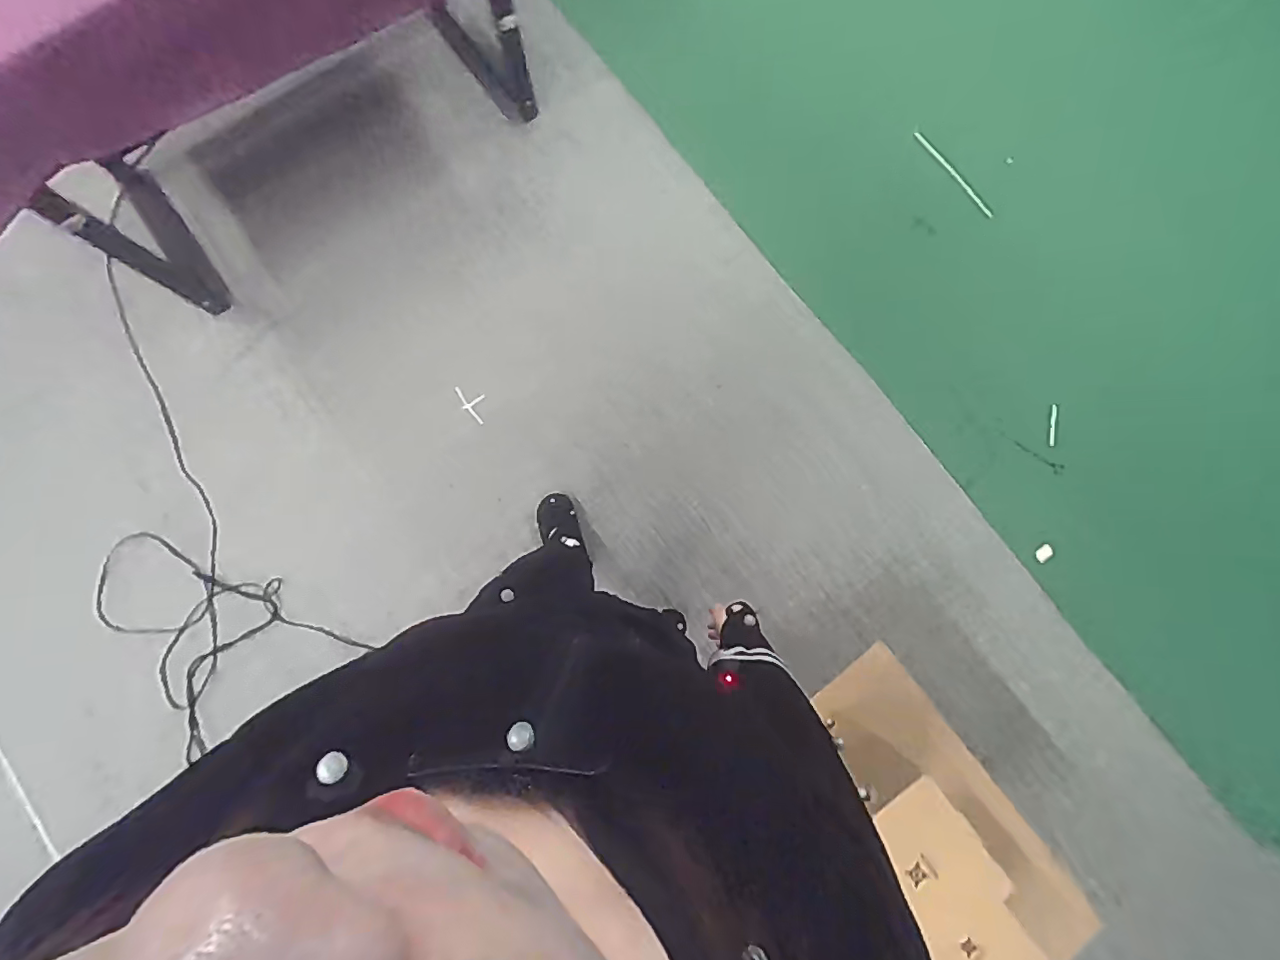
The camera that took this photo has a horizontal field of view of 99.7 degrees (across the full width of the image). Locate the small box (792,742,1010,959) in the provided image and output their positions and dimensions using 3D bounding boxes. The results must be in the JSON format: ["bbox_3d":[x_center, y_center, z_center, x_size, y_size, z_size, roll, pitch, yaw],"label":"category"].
[{"bbox_3d":[0.340,0.498,0.744,0.179,0.176,0.168,-34,81,-5],"label":"small box"}]

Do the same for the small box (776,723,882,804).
[{"bbox_3d":[0.353,0.534,0.903,0.168,0.176,0.179,-35,83,-5],"label":"small box"}]
